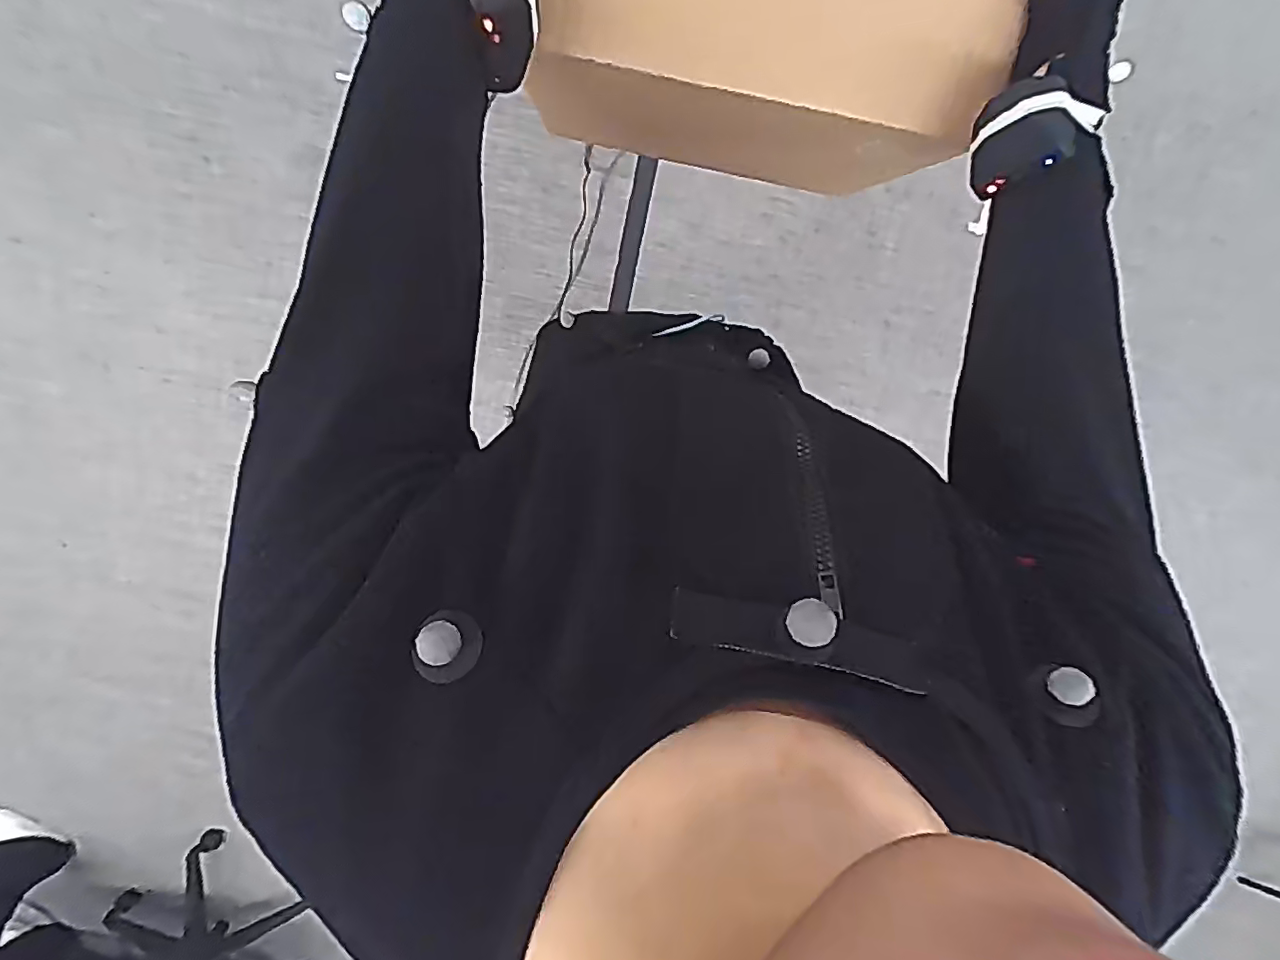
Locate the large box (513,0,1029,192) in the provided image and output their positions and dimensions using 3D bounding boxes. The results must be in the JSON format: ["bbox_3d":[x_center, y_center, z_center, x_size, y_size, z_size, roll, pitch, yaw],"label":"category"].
[{"bbox_3d":[0.113,-0.506,0.525,0.408,0.320,0.320,9,111,-6],"label":"large box"}]
